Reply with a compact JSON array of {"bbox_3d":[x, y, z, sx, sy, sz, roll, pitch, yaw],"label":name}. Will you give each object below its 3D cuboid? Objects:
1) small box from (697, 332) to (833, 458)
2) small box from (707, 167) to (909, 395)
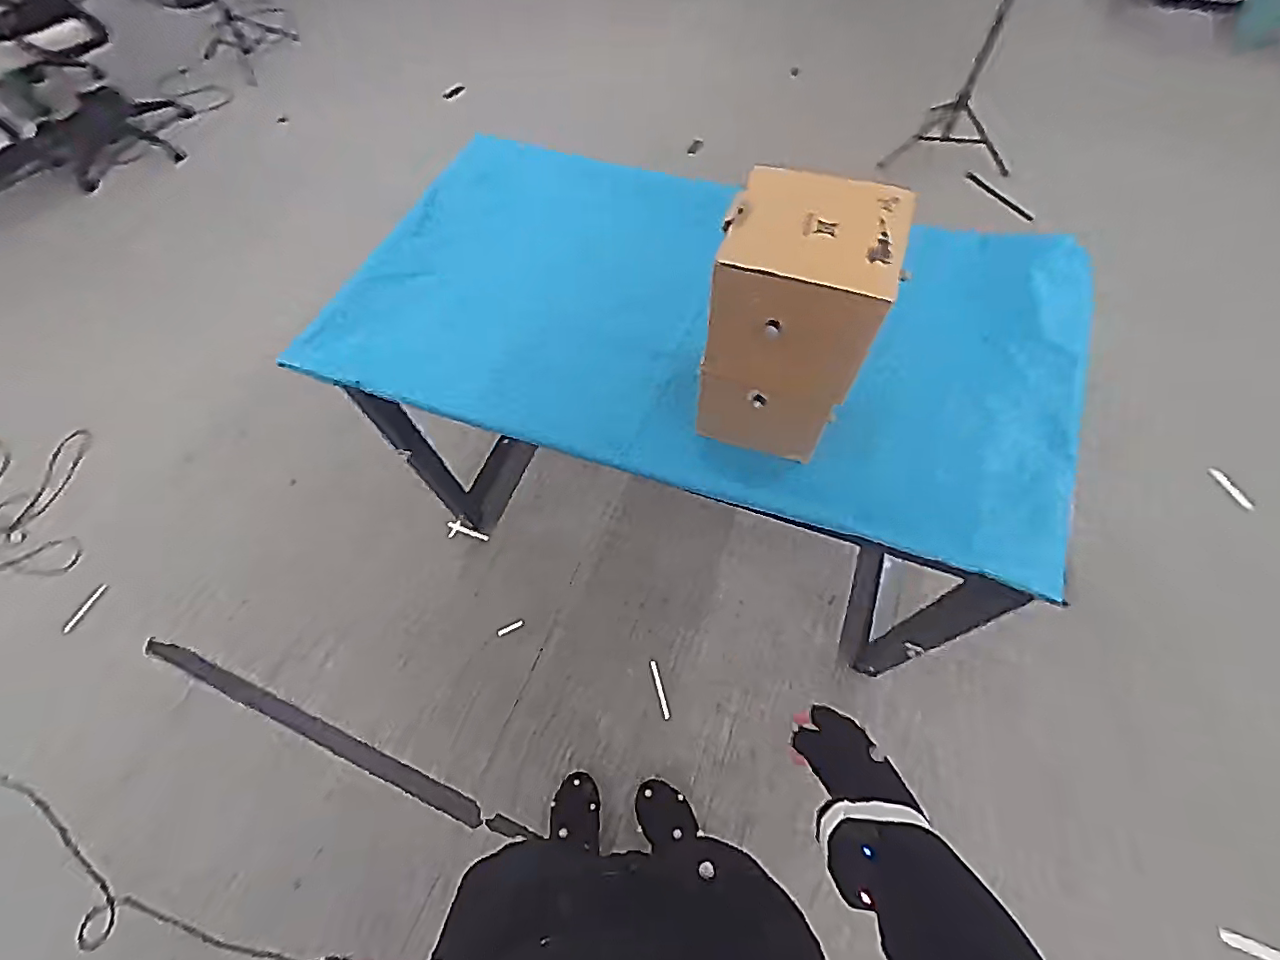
[{"bbox_3d":[0.185,-0.152,0.766,0.179,0.176,0.168,17,66,13],"label":"small box"},{"bbox_3d":[0.180,-0.219,0.617,0.179,0.176,0.168,14,64,10],"label":"small box"}]
